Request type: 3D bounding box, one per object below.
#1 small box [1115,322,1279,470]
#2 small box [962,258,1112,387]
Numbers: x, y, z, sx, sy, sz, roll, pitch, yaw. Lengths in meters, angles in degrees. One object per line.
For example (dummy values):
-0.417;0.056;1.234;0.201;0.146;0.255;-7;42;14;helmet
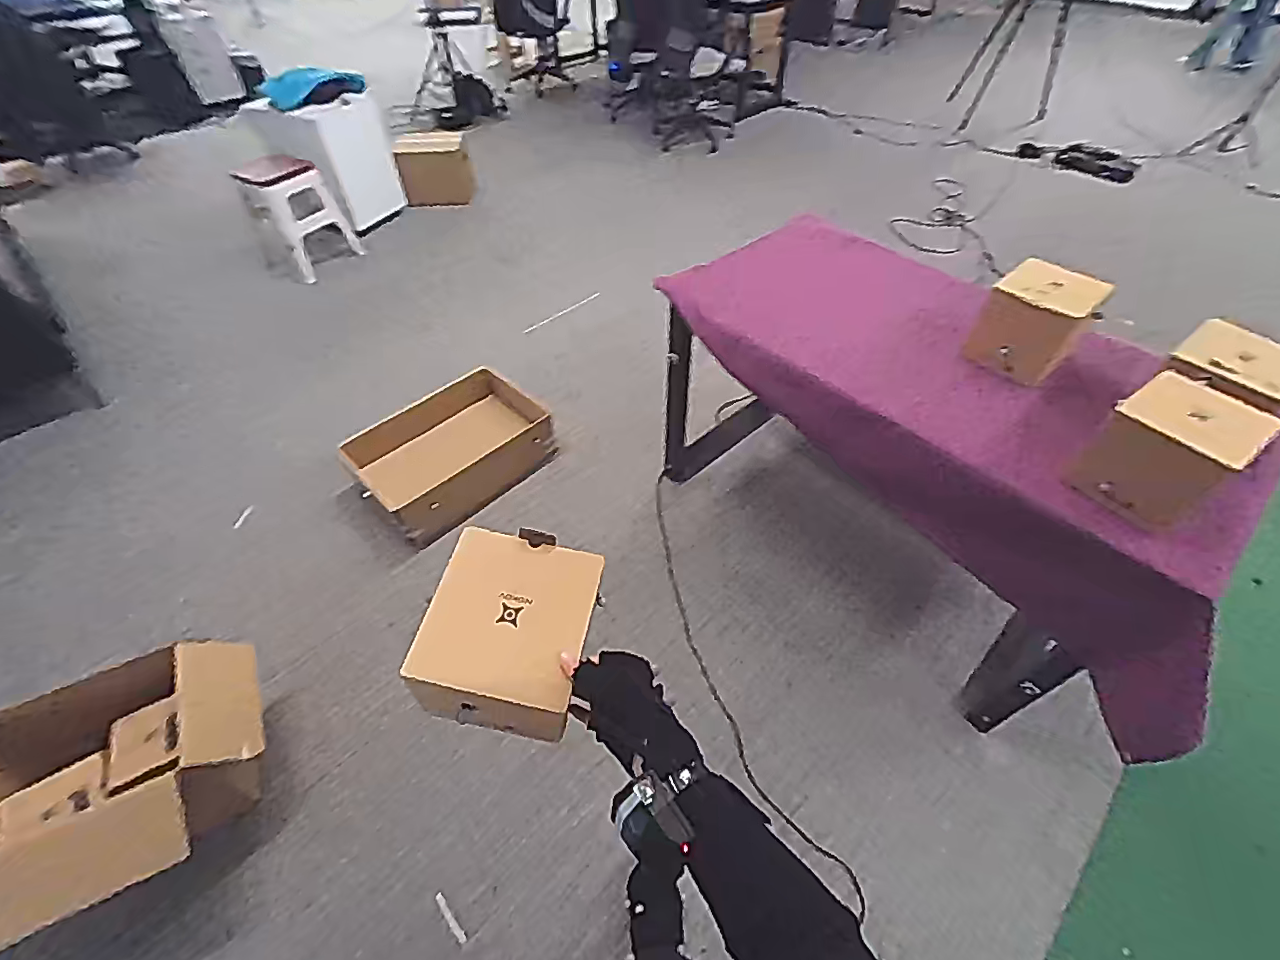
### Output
1.025;-0.151;0.978;0.179;0.176;0.168;-30;55;-23;small box
0.817;-0.328;1.130;0.179;0.176;0.168;-35;57;-25;small box
